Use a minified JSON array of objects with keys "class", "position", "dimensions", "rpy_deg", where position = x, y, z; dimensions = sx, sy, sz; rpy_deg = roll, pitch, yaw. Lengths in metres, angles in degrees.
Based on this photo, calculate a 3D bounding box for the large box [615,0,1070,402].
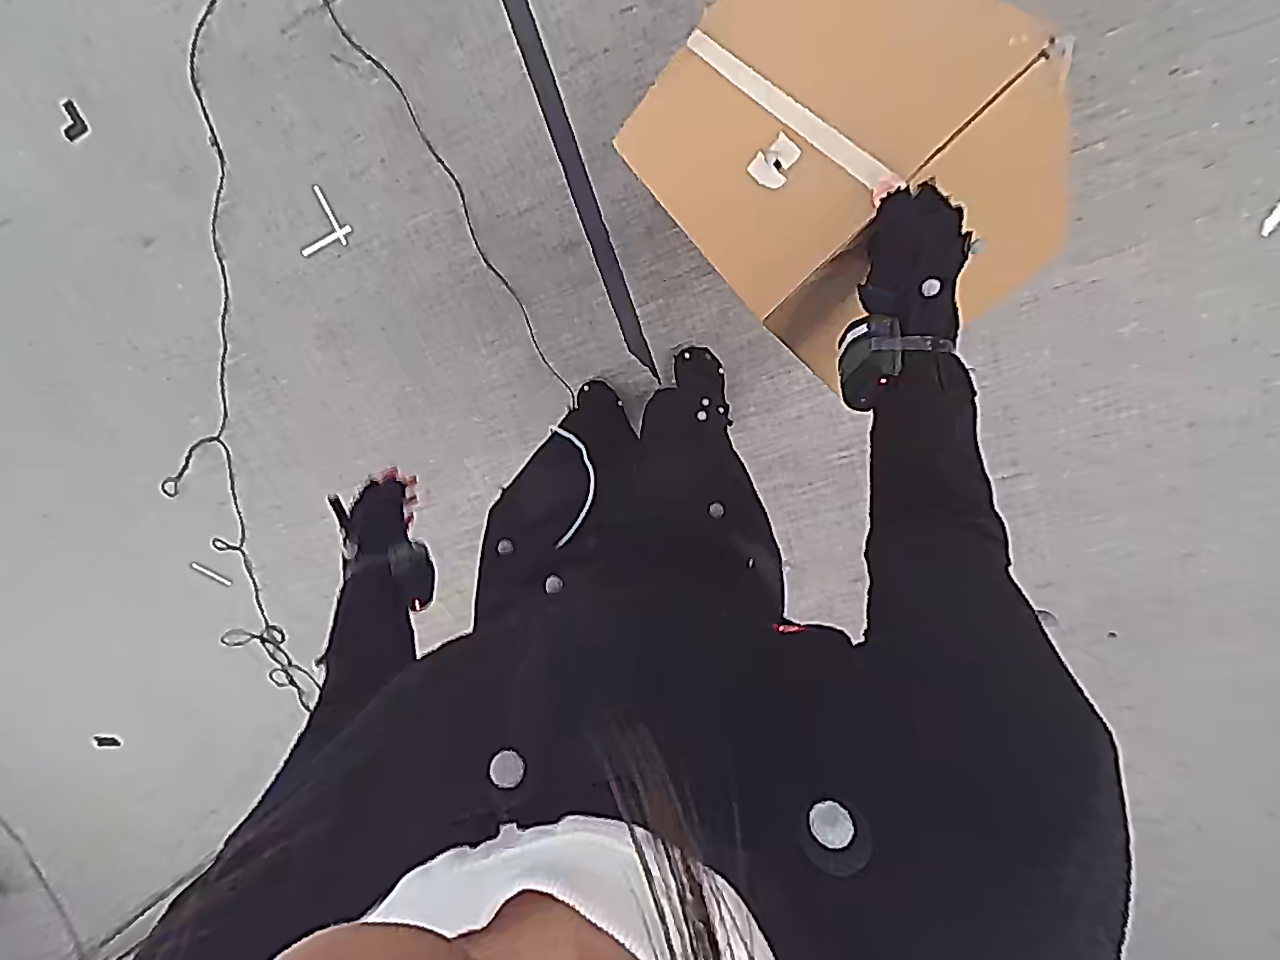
[{"class":"large box","position":[0.240,-0.374,0.694],"dimensions":[0.320,0.320,0.408],"rpy_deg":[-44,57,24]}]
